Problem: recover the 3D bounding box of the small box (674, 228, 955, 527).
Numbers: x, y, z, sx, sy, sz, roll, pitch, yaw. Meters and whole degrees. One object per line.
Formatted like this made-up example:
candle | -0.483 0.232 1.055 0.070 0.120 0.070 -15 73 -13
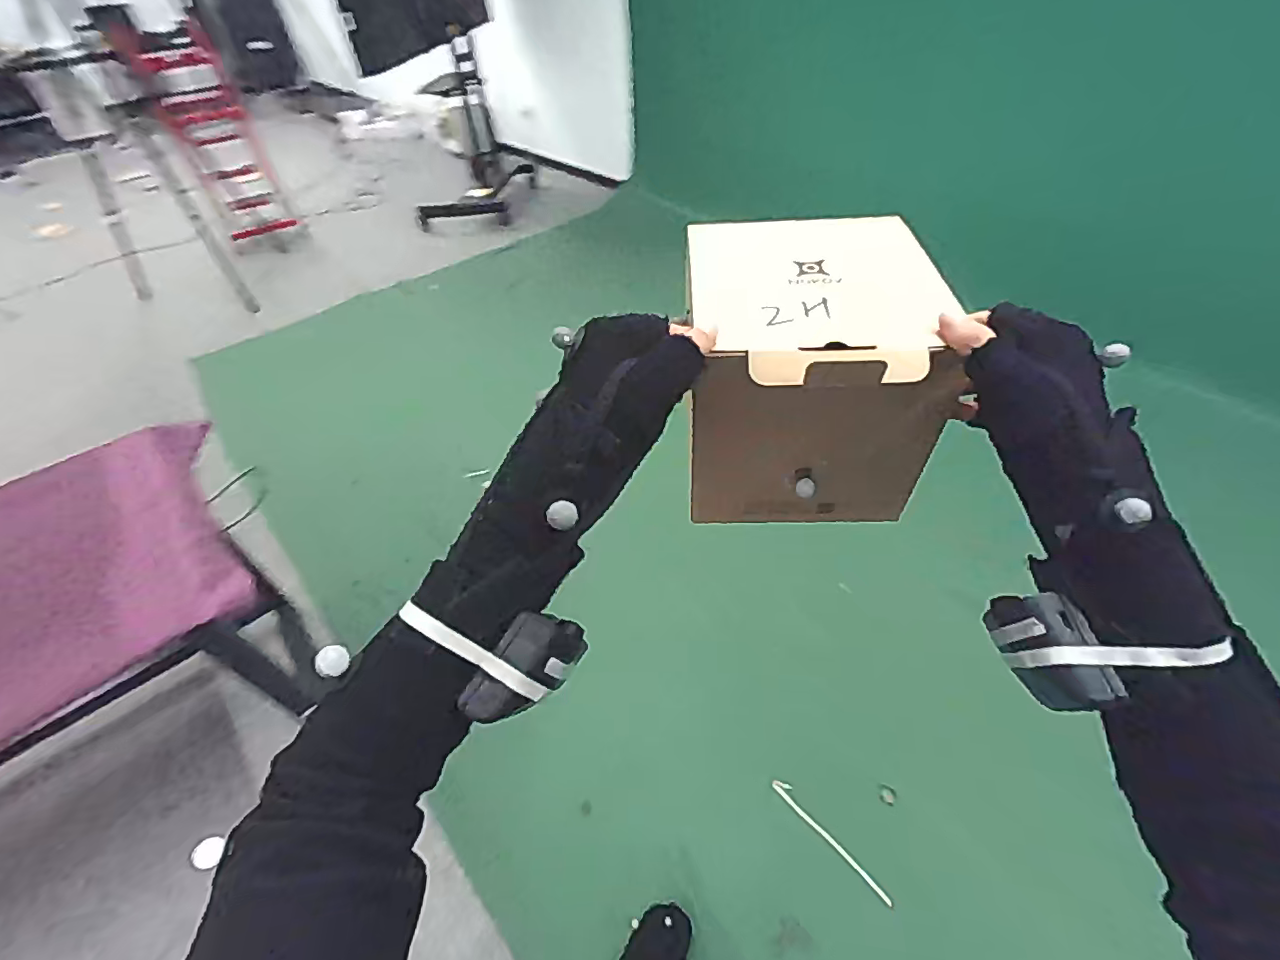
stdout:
small box | 0.111 -0.081 0.438 0.168 0.176 0.179 -1 49 3
